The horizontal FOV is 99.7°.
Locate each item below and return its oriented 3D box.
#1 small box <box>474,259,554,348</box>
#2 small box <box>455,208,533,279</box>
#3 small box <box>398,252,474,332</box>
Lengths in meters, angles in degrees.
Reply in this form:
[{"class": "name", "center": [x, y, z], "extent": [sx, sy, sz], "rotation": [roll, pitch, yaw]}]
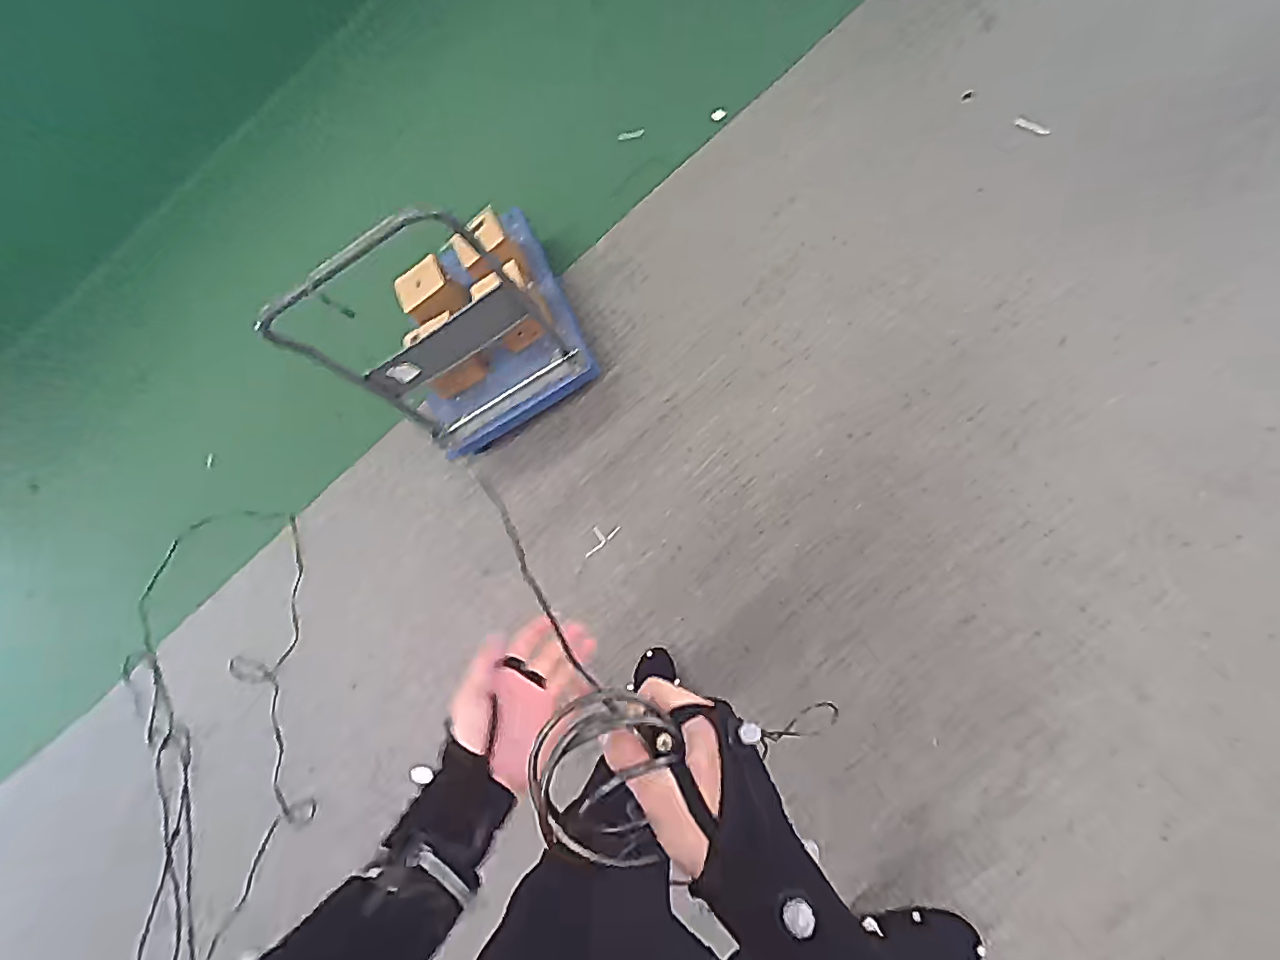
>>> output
[{"class": "small box", "center": [-0.401, -0.561, 1.736], "extent": [0.168, 0.176, 0.179], "rotation": [-28, 63, 10]}, {"class": "small box", "center": [-0.500, -0.781, 1.858], "extent": [0.168, 0.176, 0.179], "rotation": [-33, 63, 9]}, {"class": "small box", "center": [-0.709, -0.646, 1.894], "extent": [0.168, 0.176, 0.179], "rotation": [-32, 62, 8]}]
